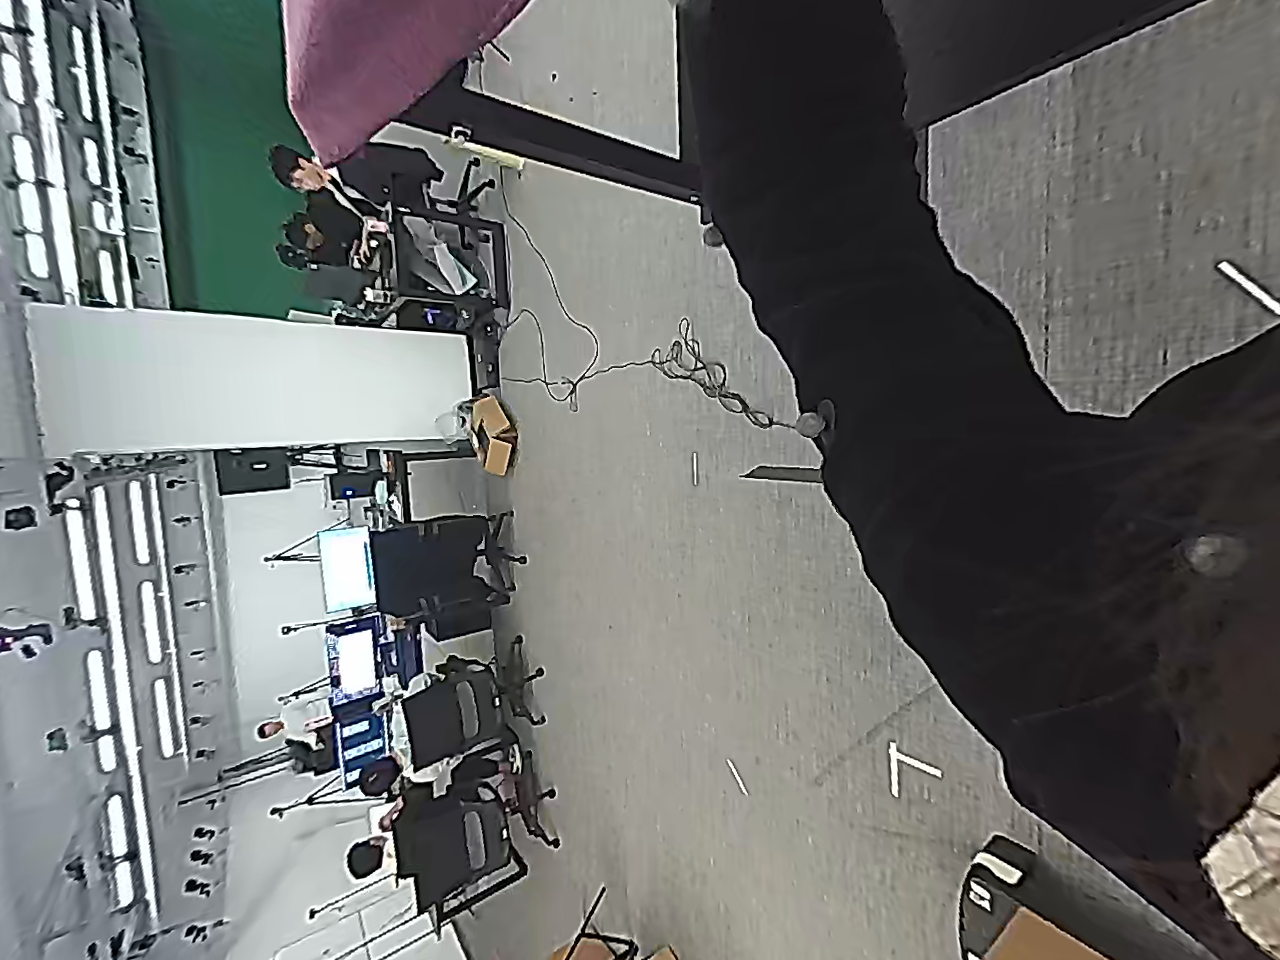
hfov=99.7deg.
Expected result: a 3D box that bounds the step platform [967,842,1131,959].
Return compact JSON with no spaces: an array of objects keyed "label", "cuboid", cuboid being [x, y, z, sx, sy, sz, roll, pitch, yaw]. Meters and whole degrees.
[{"label":"step platform","cuboid":[1.080,1.136,1.134,0.684,0.204,0.286,15,107,52]}]

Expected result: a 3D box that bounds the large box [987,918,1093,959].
[{"label":"large box","cuboid":[0.877,1.170,1.012,0.408,0.320,0.320,7,100,53]}]
